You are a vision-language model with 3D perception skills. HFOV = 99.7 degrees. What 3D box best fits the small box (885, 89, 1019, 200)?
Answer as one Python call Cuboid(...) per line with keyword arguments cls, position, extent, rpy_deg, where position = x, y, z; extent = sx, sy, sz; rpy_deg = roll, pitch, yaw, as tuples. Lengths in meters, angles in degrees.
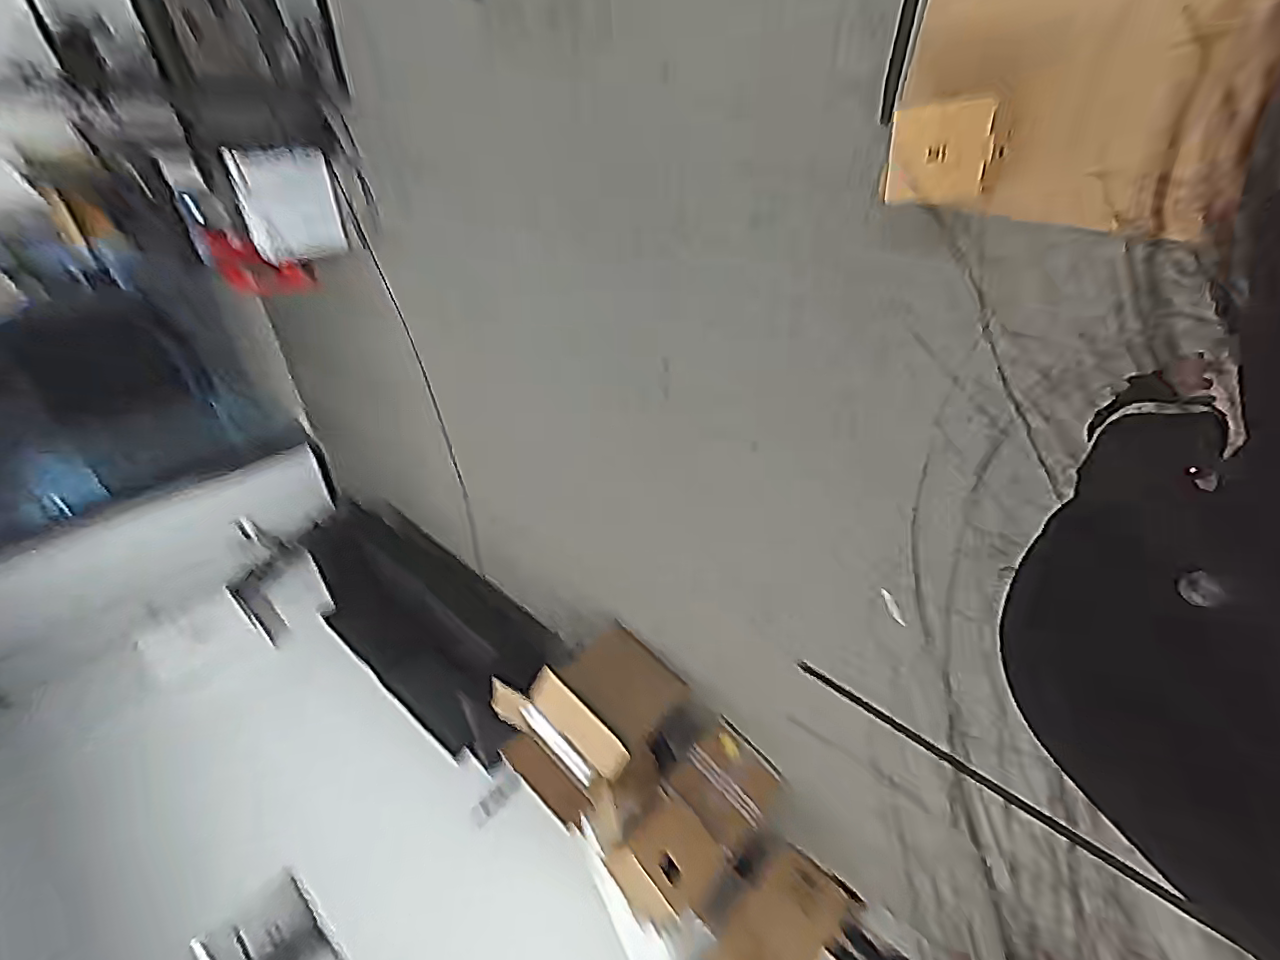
Cuboid(cls="small box", position=(0.610, -0.655, 1.063), extent=(0.179, 0.176, 0.168), rpy_deg=(19, 130, 37))
